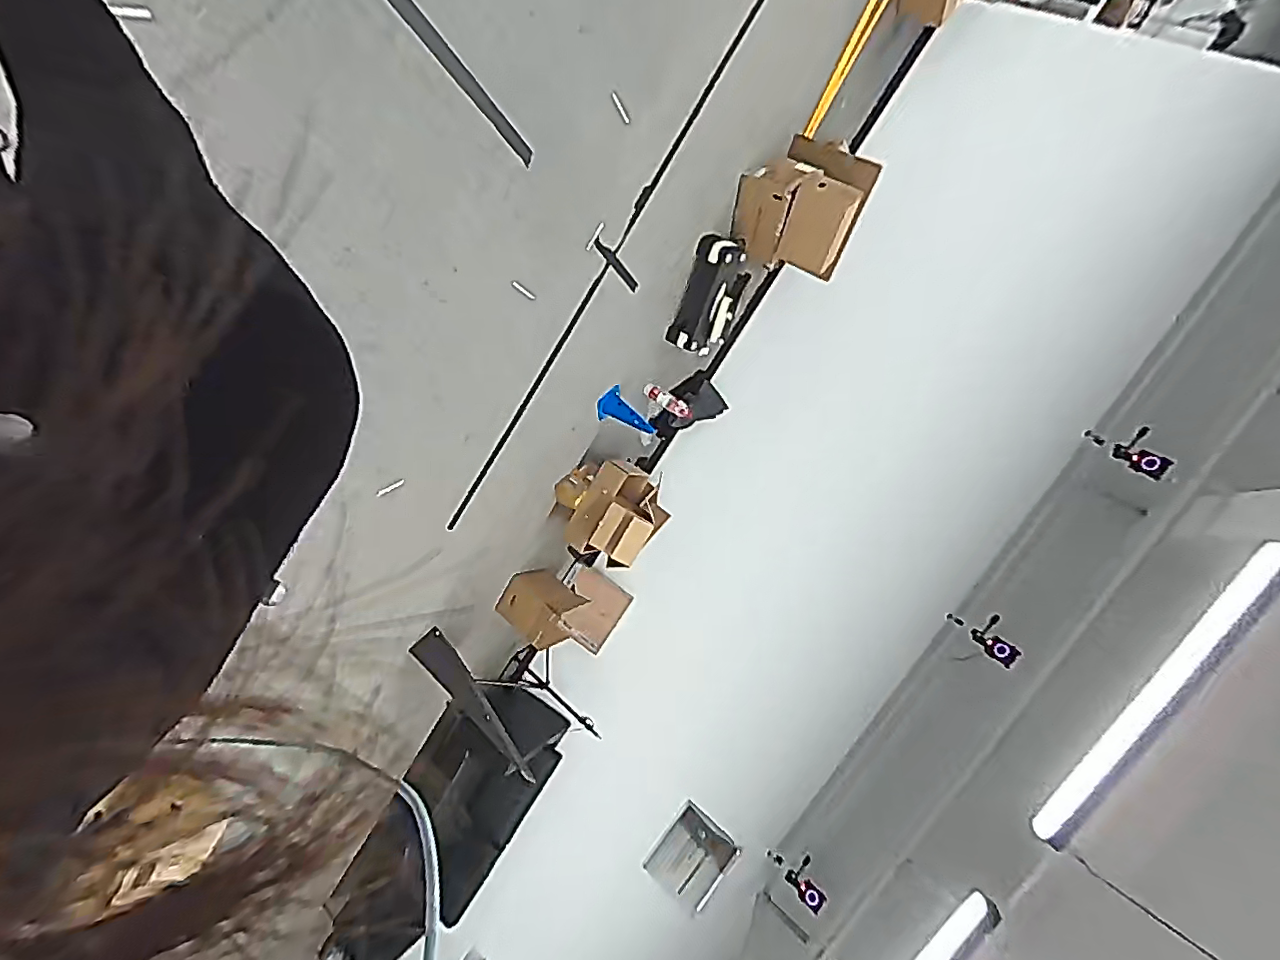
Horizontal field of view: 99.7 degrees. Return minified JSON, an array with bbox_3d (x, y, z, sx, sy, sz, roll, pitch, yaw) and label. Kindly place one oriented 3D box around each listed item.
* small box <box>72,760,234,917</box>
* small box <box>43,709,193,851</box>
[{"bbox_3d":[-1.008,0.726,1.119,0.168,0.176,0.179,-55,160,7],"label":"small box"},{"bbox_3d":[-1.136,0.639,1.175,0.179,0.176,0.168,-56,160,7],"label":"small box"}]
